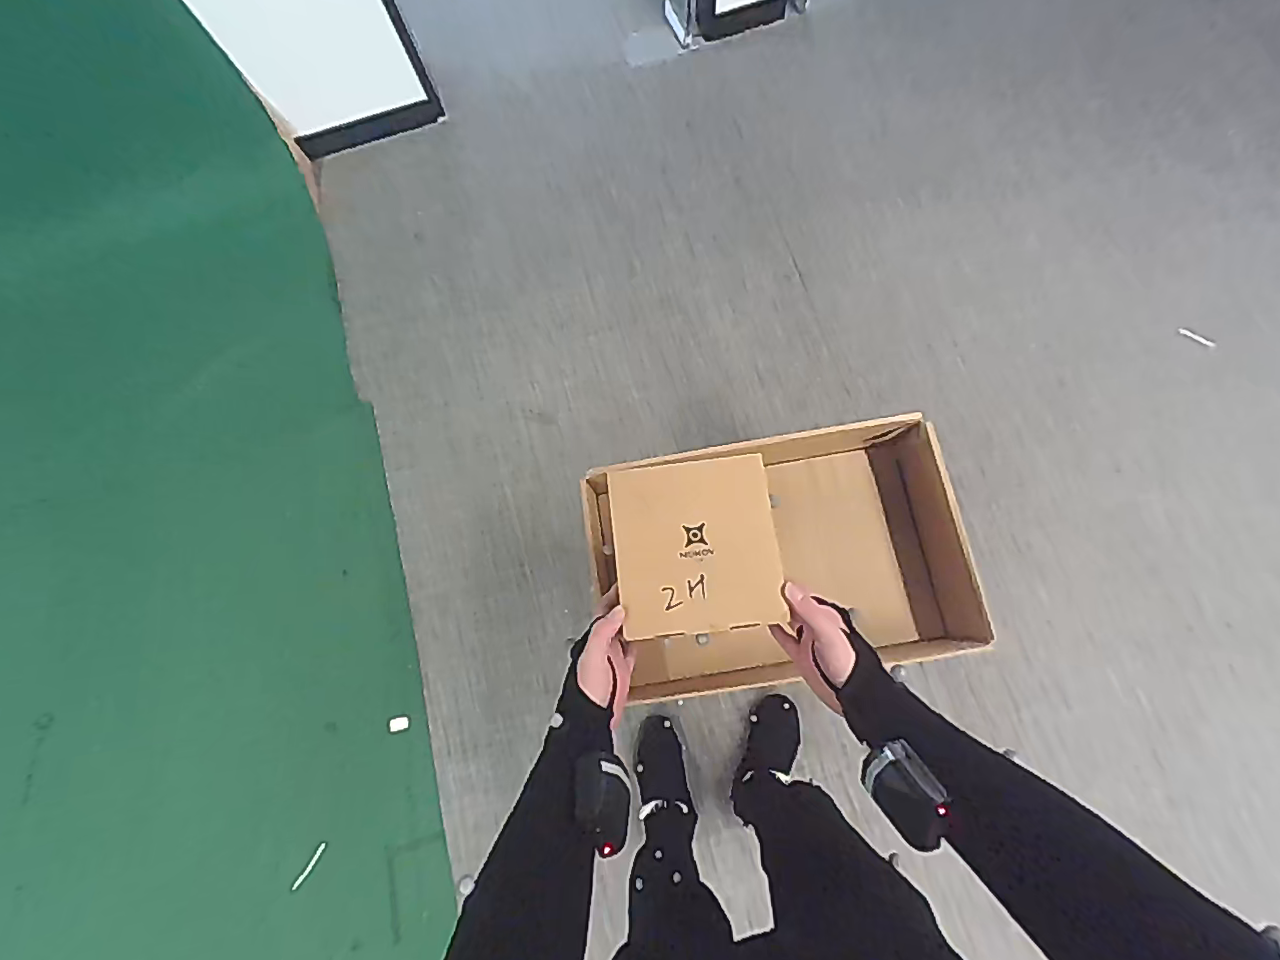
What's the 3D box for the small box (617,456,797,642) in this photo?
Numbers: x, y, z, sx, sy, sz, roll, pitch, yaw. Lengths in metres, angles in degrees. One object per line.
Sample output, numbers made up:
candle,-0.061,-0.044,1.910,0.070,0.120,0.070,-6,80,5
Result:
small box,0.066,0.084,0.616,0.168,0.176,0.179,-6,77,2
